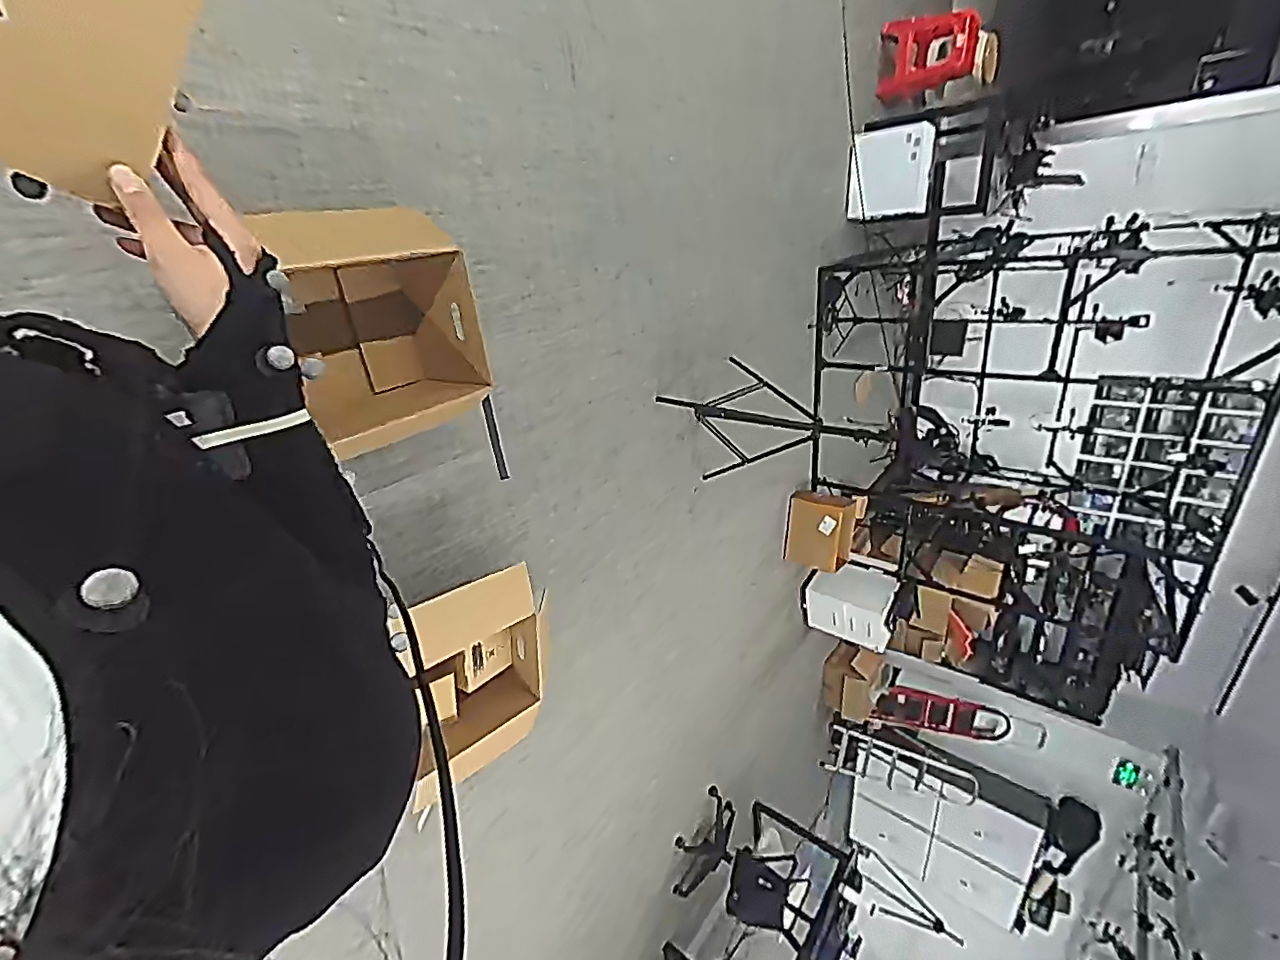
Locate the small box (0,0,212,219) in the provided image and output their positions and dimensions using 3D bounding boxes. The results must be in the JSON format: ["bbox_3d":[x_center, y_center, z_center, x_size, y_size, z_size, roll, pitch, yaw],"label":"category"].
[{"bbox_3d":[-0.380,-0.284,0.303,0.179,0.176,0.168,16,106,-51],"label":"small box"}]
